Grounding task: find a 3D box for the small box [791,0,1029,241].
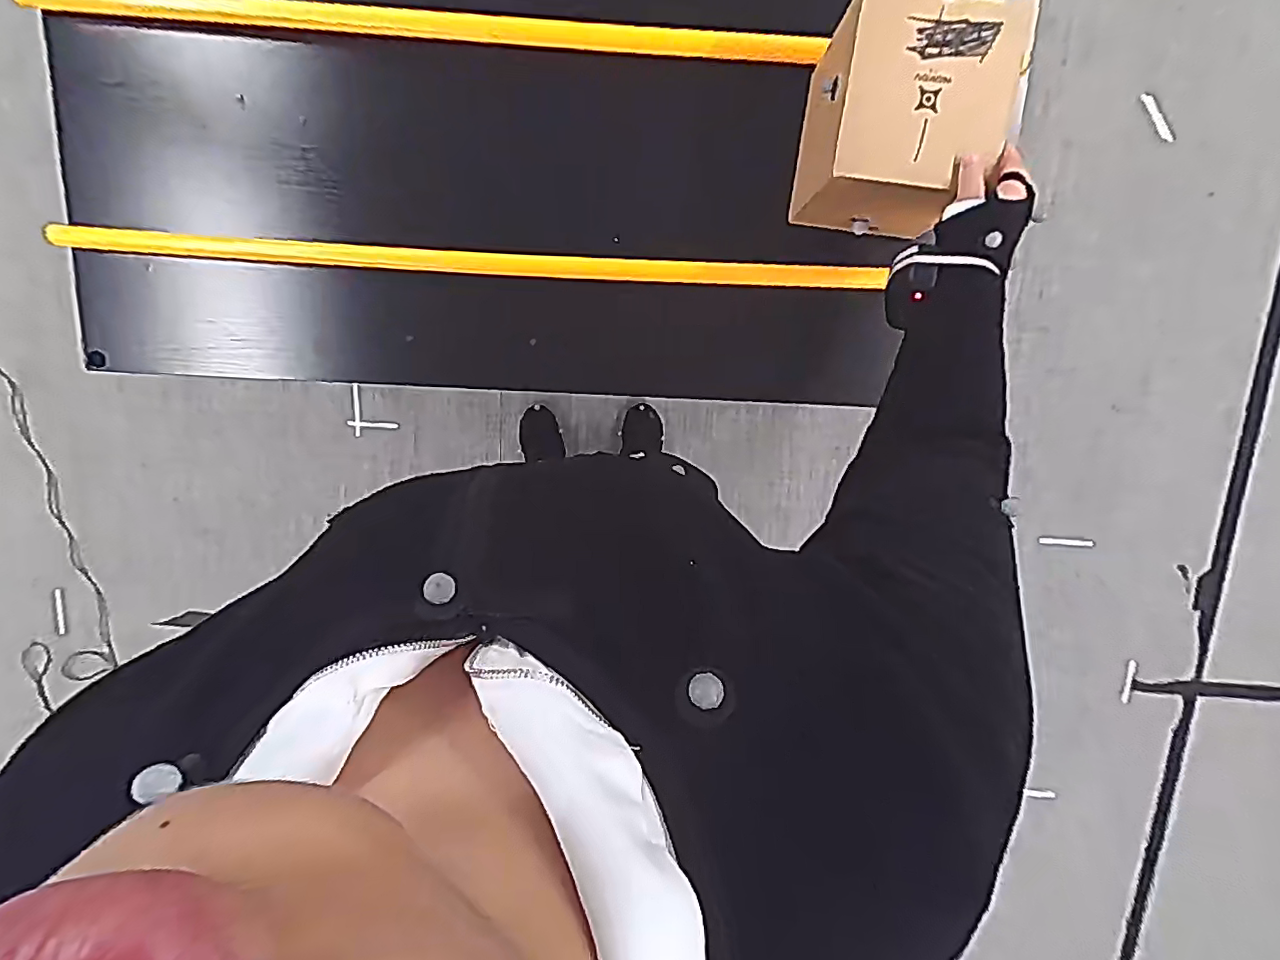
[{"bbox_3d":[0.281,-0.391,0.607,0.168,0.176,0.179,8,100,-1],"label":"small box"}]
